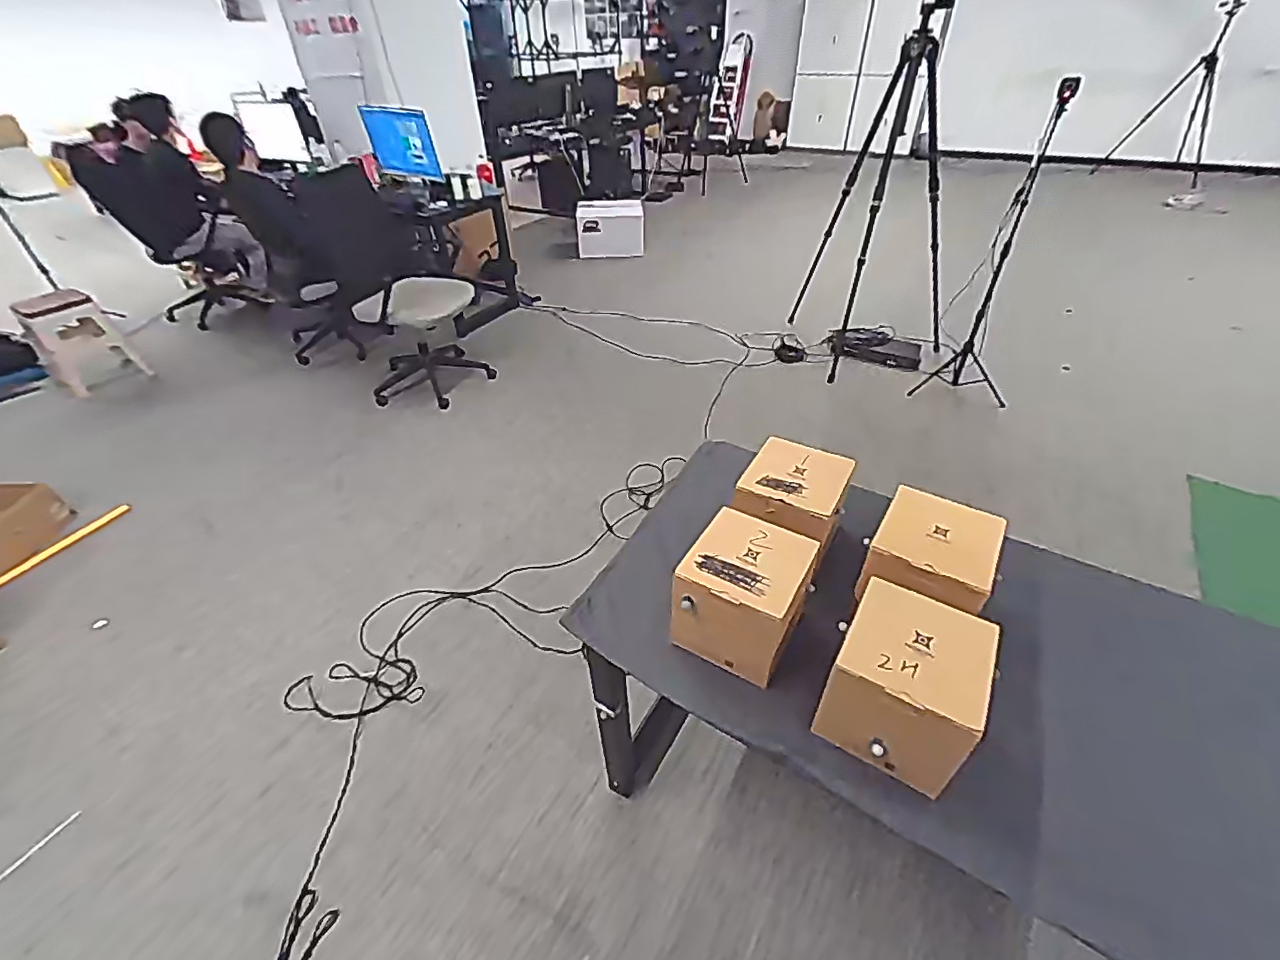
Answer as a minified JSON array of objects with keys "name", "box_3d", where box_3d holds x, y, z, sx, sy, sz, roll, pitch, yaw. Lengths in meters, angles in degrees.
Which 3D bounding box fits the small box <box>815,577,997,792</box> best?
[{"name":"small box","box_3d":[0.353,0.273,0.734,0.168,0.176,0.179,21,43,26]}]

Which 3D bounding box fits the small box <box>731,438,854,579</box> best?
[{"name":"small box","box_3d":[0.278,0.053,1.007,0.168,0.176,0.179,21,44,24]}]

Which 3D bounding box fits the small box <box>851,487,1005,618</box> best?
[{"name":"small box","box_3d":[0.466,0.147,0.890,0.168,0.176,0.179,23,46,26]}]
